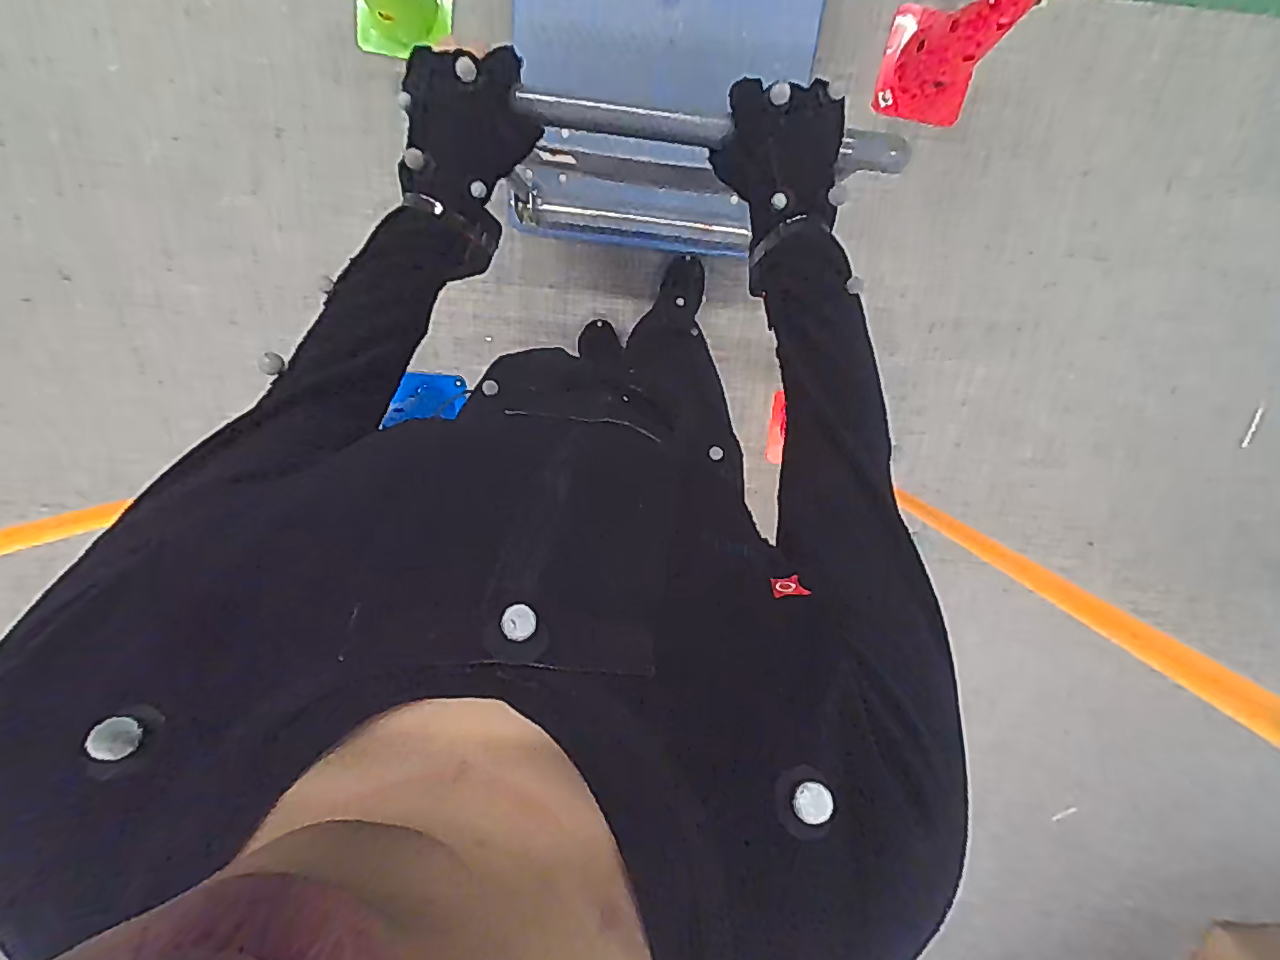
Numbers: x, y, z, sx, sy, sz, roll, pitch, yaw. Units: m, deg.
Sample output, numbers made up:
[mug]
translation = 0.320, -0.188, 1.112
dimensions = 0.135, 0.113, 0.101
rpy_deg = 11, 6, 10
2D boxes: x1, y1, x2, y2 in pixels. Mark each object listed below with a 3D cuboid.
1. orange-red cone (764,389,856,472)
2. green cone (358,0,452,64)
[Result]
[orange-red cone]
translation = 0.438, -0.088, 1.297
dimensions = 0.199, 0.360, 0.198
rpy_deg = 4, 109, 1
[green cone]
translation = -0.503, -0.960, 0.987
dimensions = 0.202, 0.368, 0.200
rpy_deg = 9, 109, -2
